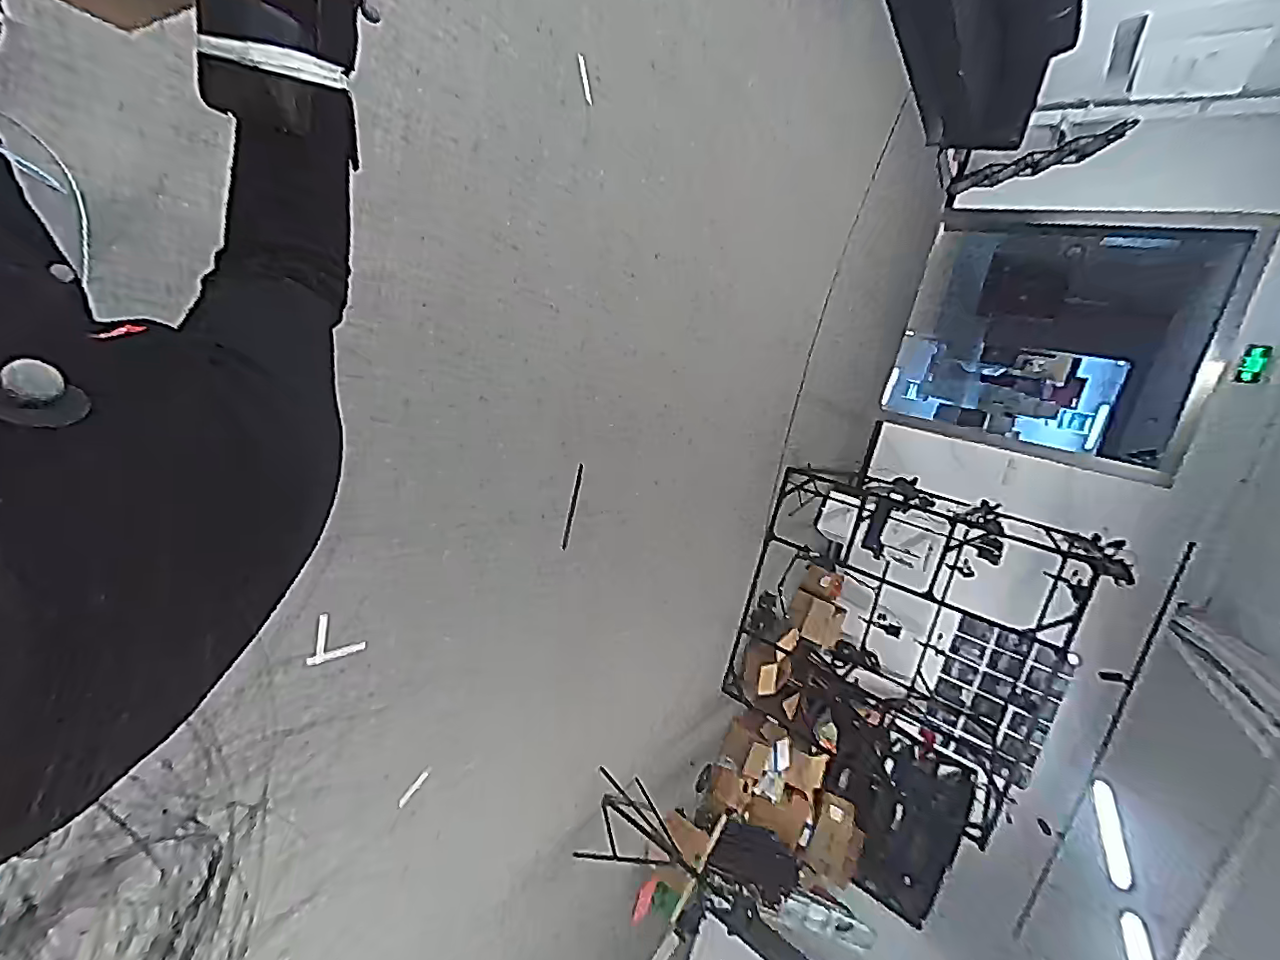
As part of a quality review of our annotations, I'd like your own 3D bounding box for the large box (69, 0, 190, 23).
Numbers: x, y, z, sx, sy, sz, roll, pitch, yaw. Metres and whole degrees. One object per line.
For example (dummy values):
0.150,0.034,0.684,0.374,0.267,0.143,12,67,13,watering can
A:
-0.411,-0.478,0.201,0.408,0.320,0.320,-2,114,-55,large box
